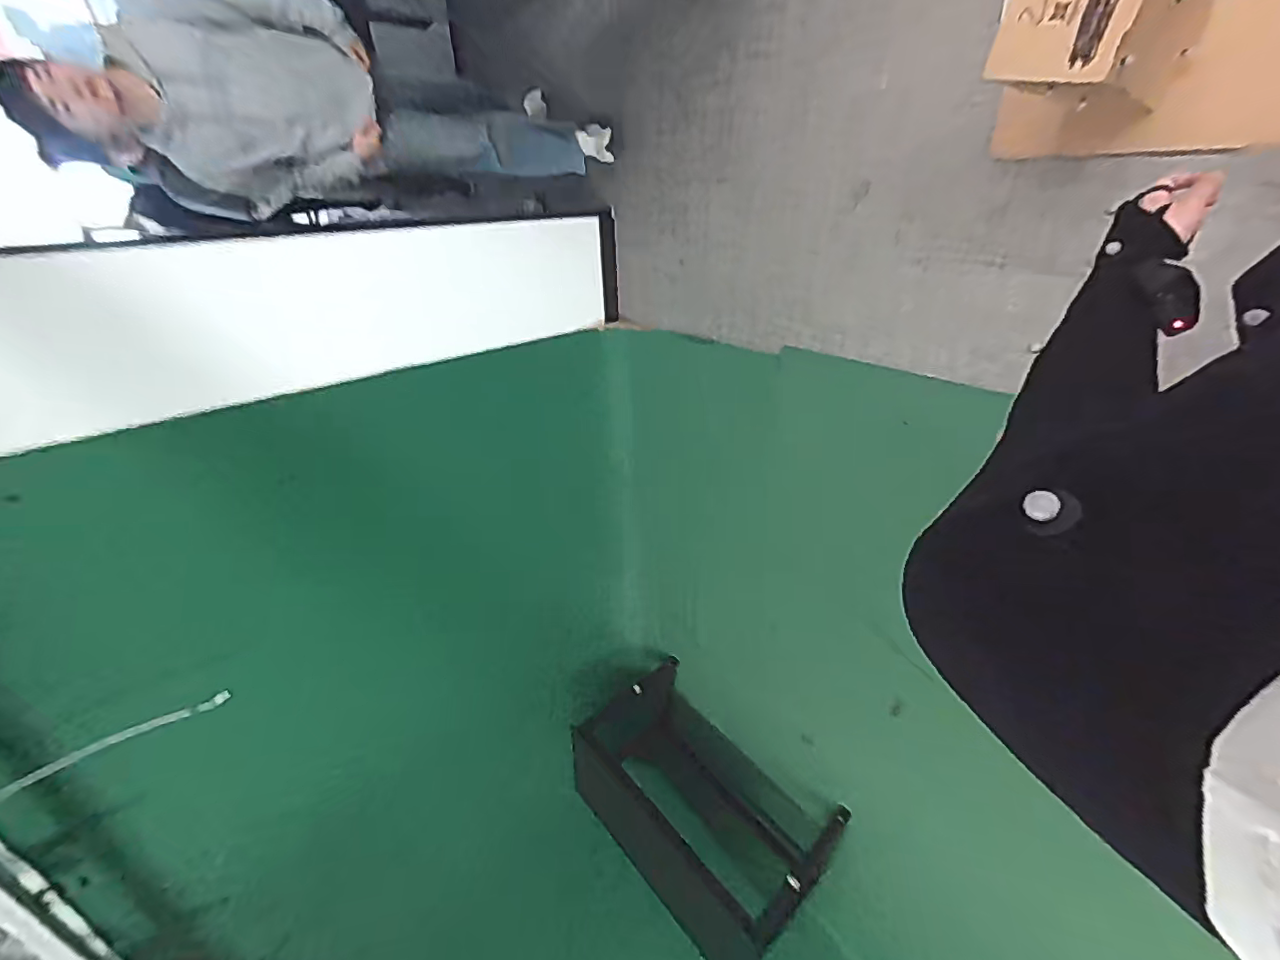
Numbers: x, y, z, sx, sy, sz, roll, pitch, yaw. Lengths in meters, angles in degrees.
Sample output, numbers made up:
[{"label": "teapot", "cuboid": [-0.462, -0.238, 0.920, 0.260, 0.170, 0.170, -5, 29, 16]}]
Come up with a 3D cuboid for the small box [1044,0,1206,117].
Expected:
[{"label": "small box", "cuboid": [0.927, -0.812, 1.035, 0.168, 0.176, 0.179, 36, 134, 36]}]

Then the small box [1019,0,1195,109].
[{"label": "small box", "cuboid": [0.808, -0.759, 0.934, 0.168, 0.176, 0.179, 36, 135, 37]}]
